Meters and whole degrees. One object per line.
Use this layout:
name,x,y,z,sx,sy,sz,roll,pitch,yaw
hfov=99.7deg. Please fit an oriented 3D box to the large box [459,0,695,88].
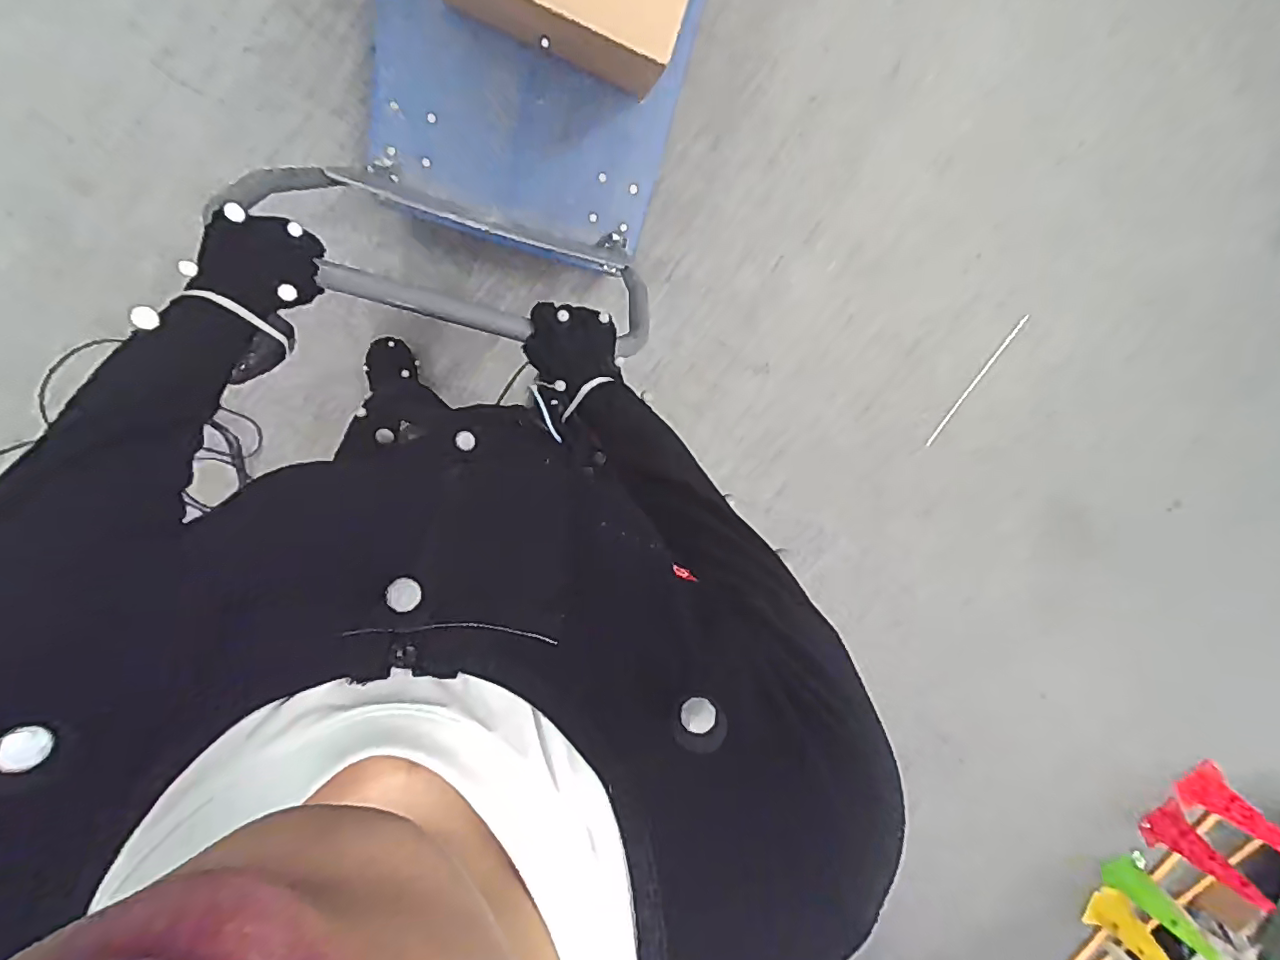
large box,-0.091,-0.888,0.850,0.408,0.320,0.320,16,115,-13
